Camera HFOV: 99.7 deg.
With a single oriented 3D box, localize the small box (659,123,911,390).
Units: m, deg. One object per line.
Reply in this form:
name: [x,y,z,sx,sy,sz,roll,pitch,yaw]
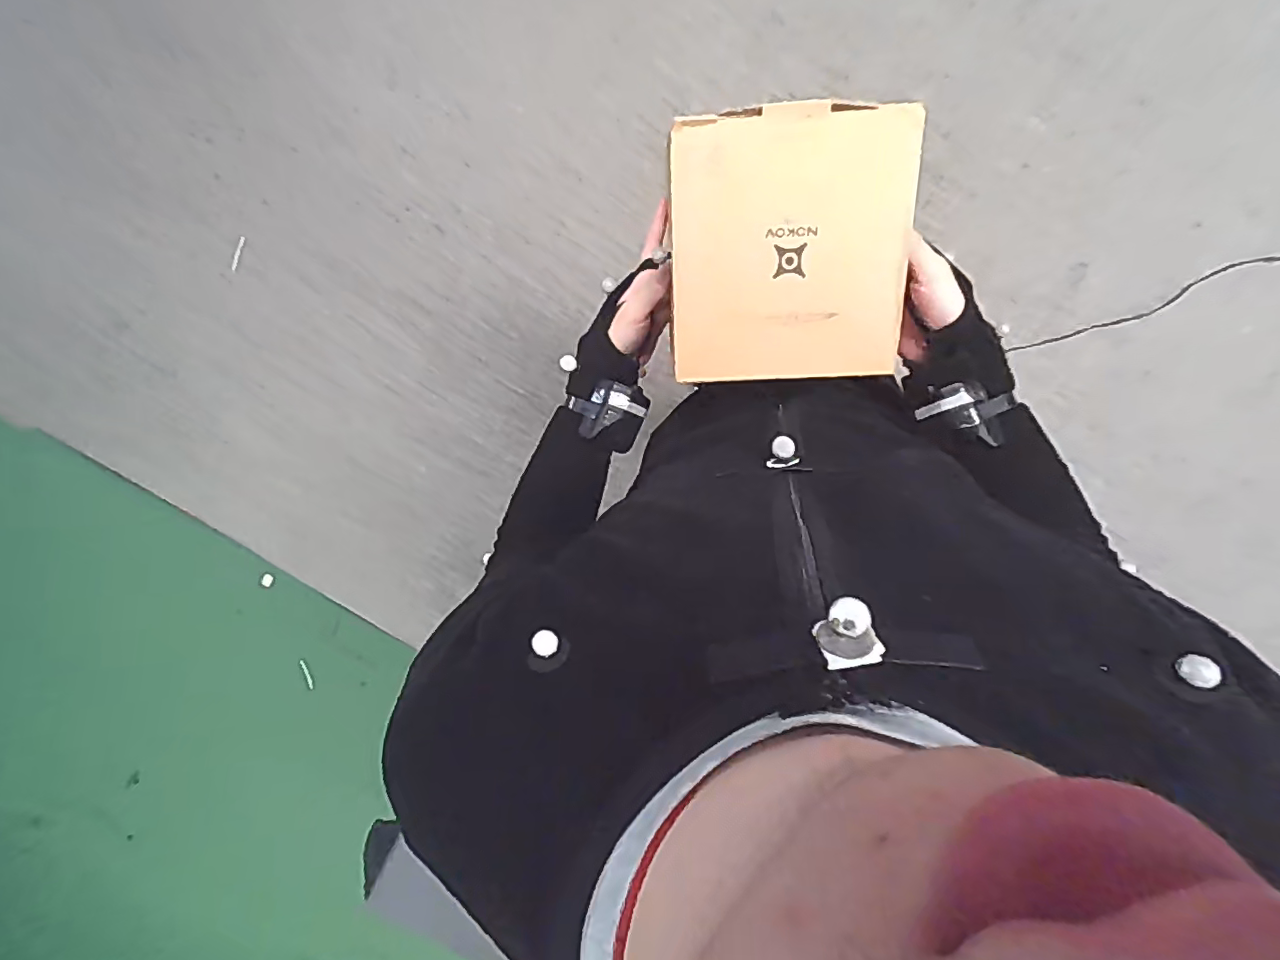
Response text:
small box: [0.101,-0.180,0.461,0.168,0.176,0.179,-2,112,2]
